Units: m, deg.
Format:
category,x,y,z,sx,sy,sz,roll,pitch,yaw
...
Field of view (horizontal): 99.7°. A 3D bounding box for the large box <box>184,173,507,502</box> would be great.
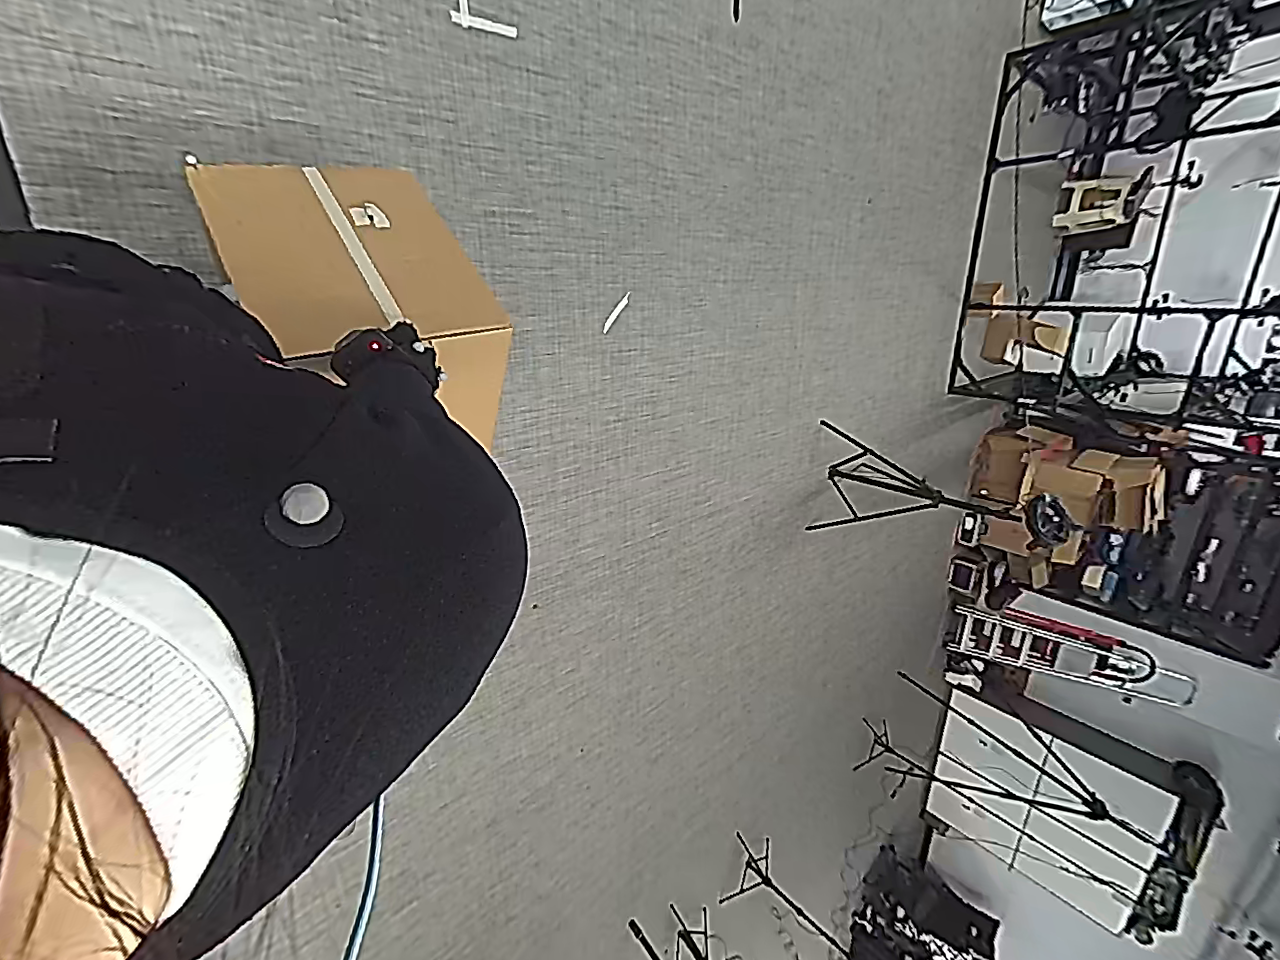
category,x,y,z,sx,sy,sz,roll,pitch,yaw
large box,-0.466,-0.240,0.894,0.320,0.408,0.320,-21,154,-35
